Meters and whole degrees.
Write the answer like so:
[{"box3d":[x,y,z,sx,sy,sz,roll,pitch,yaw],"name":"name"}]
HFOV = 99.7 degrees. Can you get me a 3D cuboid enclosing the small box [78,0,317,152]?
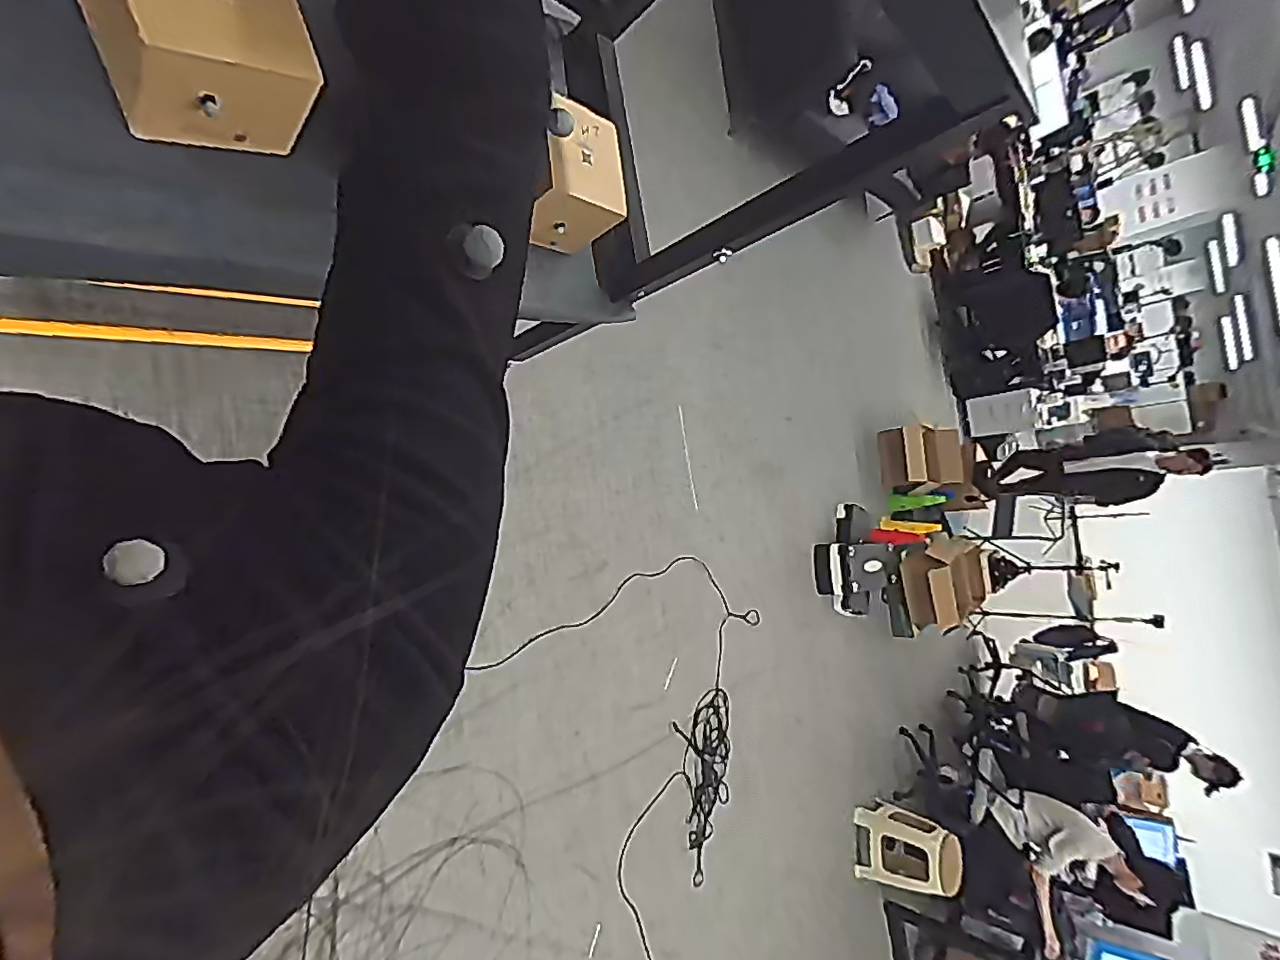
[{"box3d":[-0.504,-0.509,0.615,0.168,0.176,0.179,-25,101,-45],"name":"small box"}]
